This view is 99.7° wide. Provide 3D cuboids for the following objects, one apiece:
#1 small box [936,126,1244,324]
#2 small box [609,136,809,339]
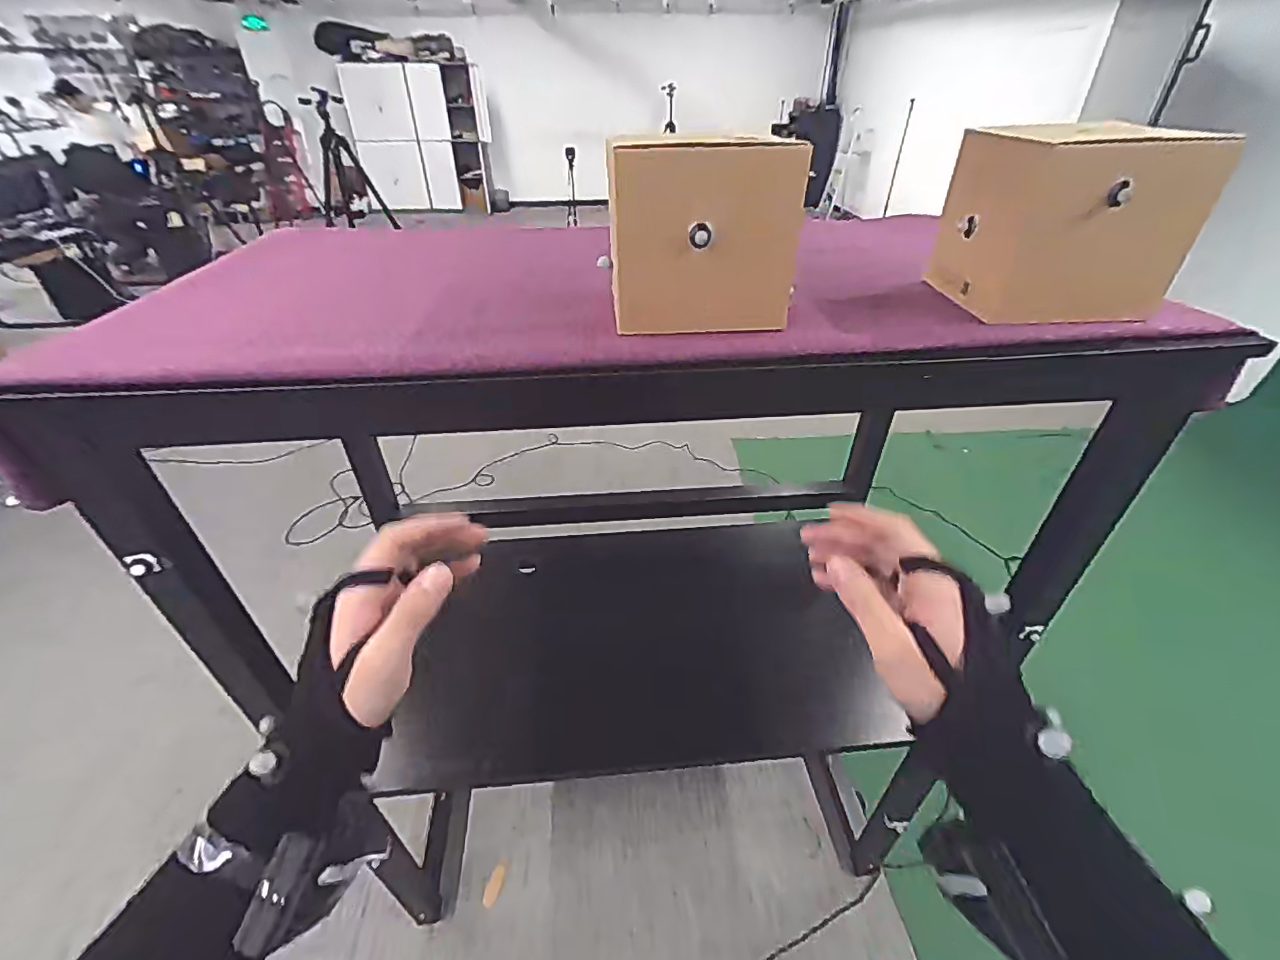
[{"bbox_3d":[0.448,-0.275,0.585,0.179,0.176,0.168,-1,37,1],"label":"small box"},{"bbox_3d":[0.059,-0.259,0.575,0.179,0.176,0.168,-4,35,-2],"label":"small box"}]
